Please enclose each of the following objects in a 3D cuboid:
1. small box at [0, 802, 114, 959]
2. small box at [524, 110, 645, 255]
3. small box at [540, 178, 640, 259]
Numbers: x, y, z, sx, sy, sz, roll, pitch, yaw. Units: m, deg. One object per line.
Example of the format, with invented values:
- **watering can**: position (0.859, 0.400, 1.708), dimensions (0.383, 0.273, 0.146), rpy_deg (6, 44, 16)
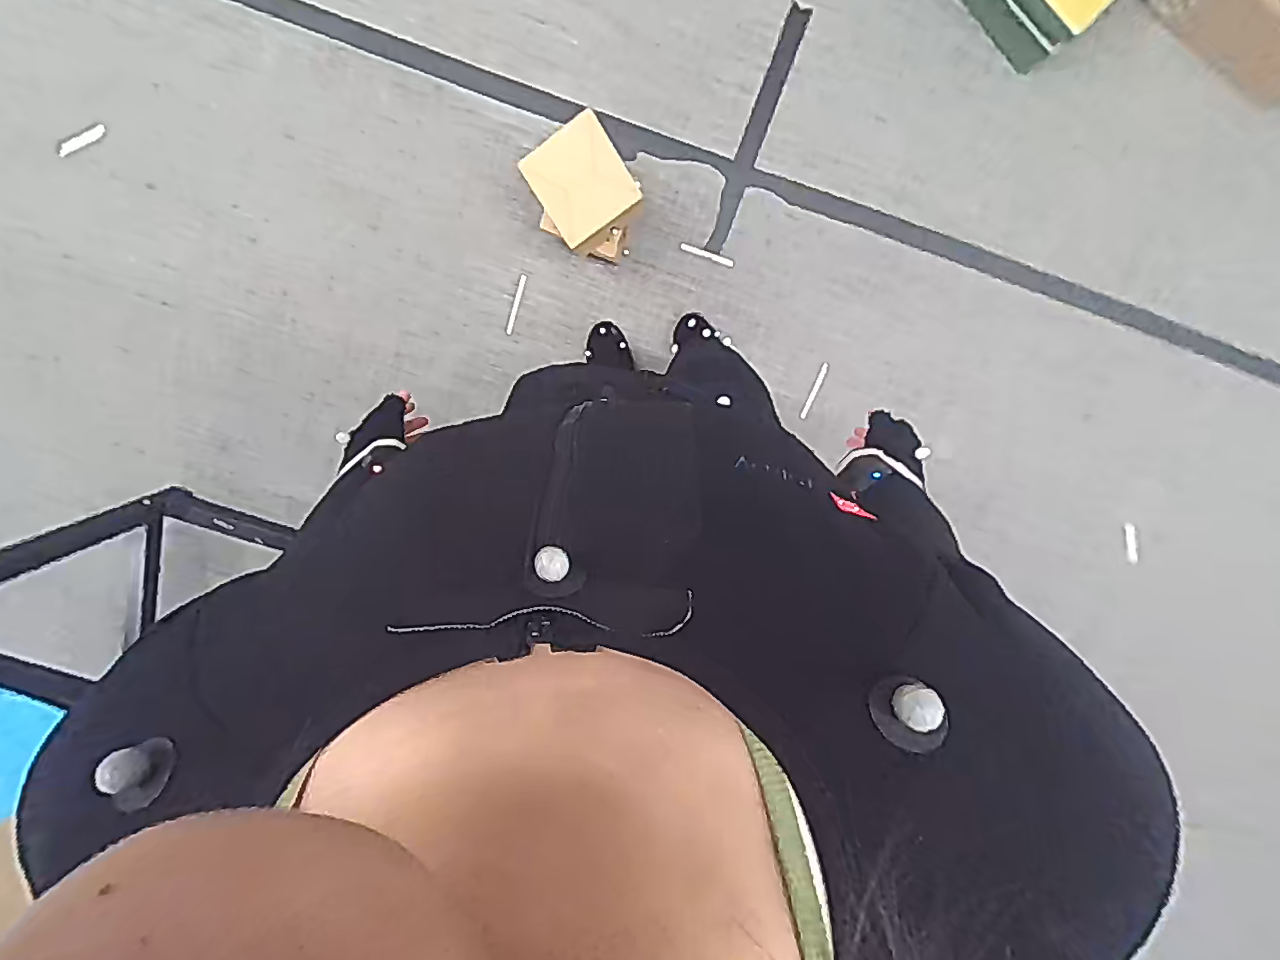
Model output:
- **small box**: position (-1.064, 0.703, 0.923), dimensions (0.179, 0.176, 0.168), rpy_deg (19, 107, -3)
- **small box**: position (-0.107, -0.579, 1.073), dimensions (0.168, 0.176, 0.179), rpy_deg (-32, 103, 10)
- **small box**: position (-0.106, -0.619, 1.237), dimensions (0.179, 0.176, 0.168), rpy_deg (21, 107, -4)
